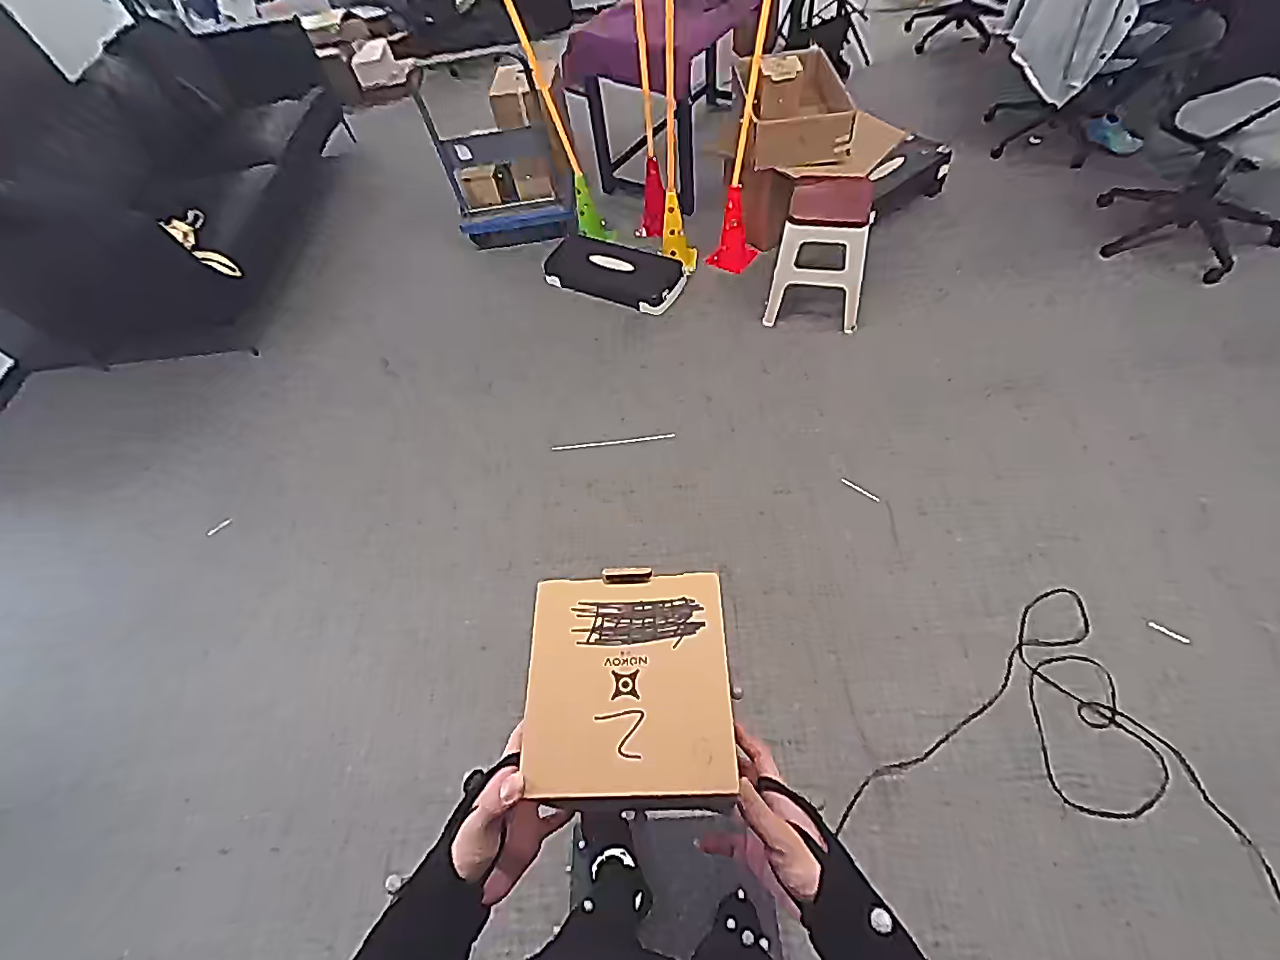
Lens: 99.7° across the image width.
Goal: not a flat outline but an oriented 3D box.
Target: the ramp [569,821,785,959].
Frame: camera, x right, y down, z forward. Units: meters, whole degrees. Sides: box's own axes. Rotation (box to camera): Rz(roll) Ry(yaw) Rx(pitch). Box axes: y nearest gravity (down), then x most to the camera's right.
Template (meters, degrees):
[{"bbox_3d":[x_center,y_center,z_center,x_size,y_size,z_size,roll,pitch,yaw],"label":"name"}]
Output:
[{"bbox_3d":[0.082,1.249,1.042,0.509,0.206,0.991,-8,56,4],"label":"ramp"}]
